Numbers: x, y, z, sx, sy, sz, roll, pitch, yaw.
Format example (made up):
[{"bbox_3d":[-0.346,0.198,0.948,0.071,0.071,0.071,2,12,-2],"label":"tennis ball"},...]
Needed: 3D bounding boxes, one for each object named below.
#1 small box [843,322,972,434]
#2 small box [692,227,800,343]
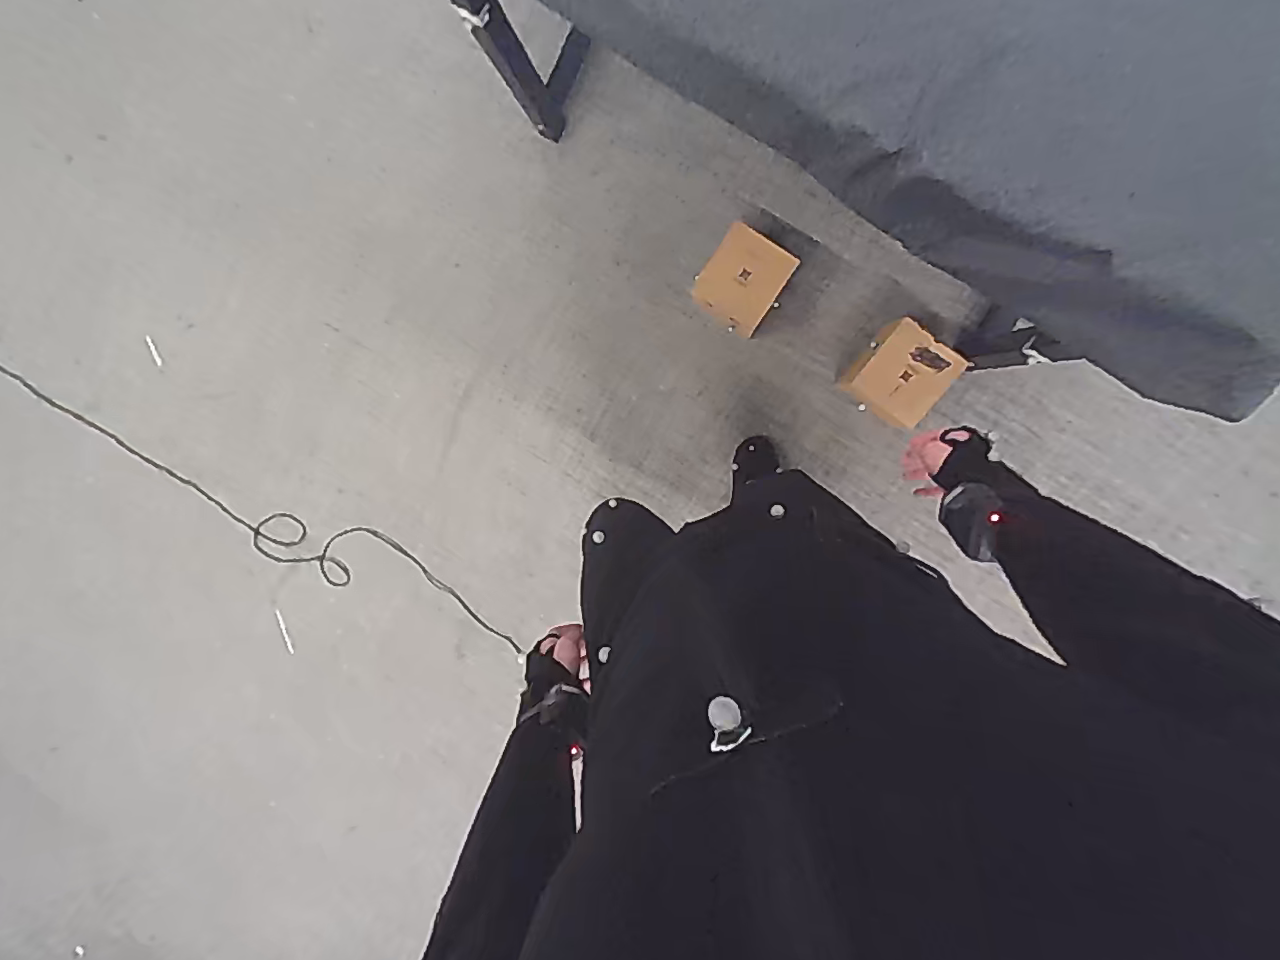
[{"bbox_3d":[0.581,-0.225,1.205,0.168,0.176,0.179,37,103,2],"label":"small box"},{"bbox_3d":[0.237,-0.433,1.234,0.168,0.176,0.179,33,100,2],"label":"small box"}]
